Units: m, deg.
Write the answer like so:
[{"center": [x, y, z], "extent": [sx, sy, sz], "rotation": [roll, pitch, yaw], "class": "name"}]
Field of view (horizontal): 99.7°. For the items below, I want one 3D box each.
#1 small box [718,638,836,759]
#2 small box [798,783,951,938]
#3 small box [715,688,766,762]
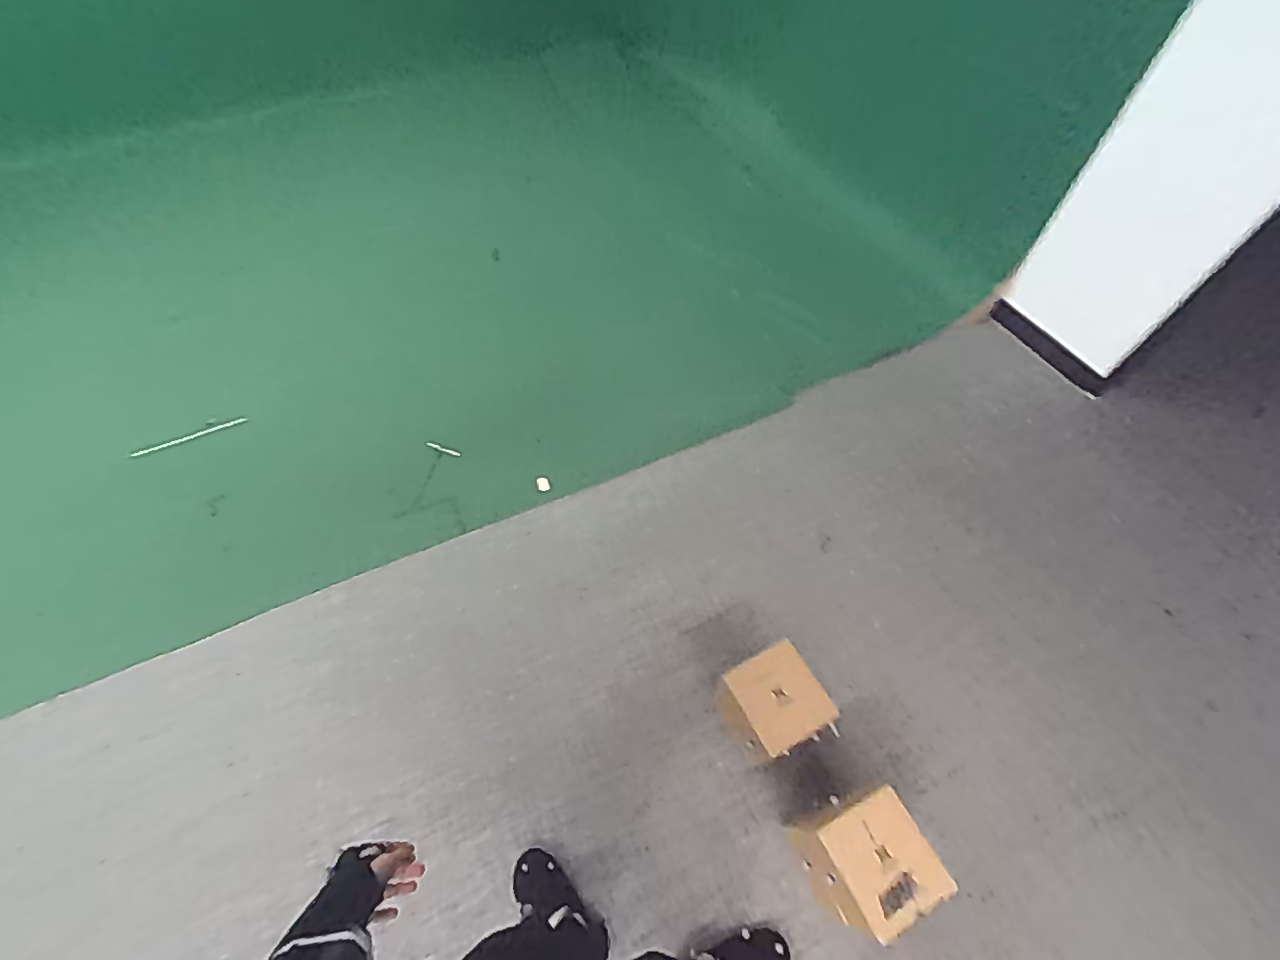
[{"center": [0.281, 0.471, 1.151], "extent": [0.168, 0.176, 0.179], "rotation": [-24, 58, -13], "class": "small box"}, {"center": [0.421, 0.693, 1.003], "extent": [0.168, 0.176, 0.179], "rotation": [-23, 59, -13], "class": "small box"}, {"center": [0.294, 0.552, 1.294], "extent": [0.168, 0.176, 0.179], "rotation": [-25, 59, -13], "class": "small box"}]
